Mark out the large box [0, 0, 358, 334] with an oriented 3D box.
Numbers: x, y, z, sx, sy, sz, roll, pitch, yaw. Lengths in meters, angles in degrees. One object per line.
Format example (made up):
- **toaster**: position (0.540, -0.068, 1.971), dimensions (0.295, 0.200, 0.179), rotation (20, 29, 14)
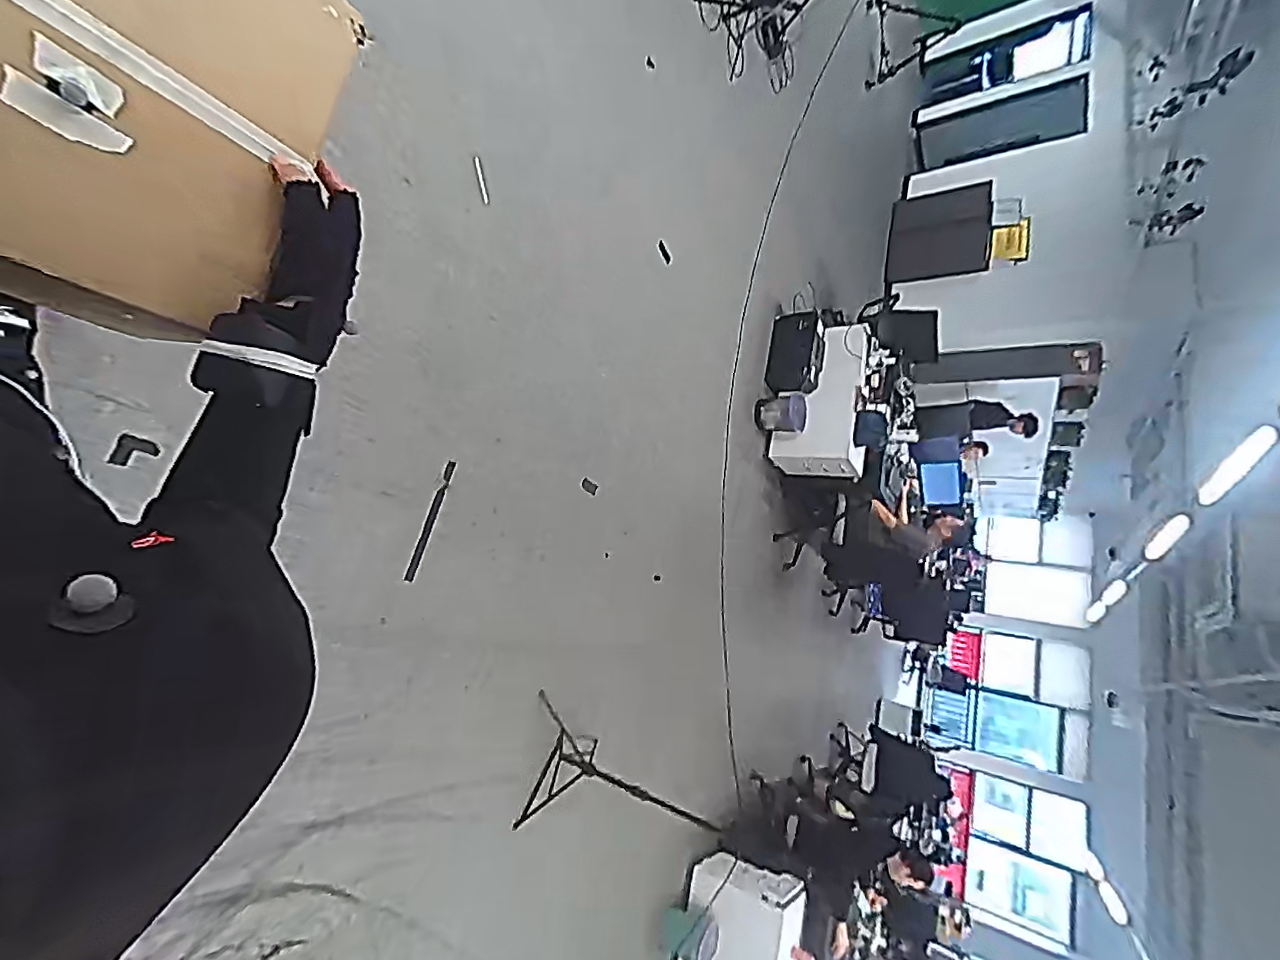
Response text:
- **large box**: position (-0.517, -0.335, 0.395), dimensions (0.408, 0.320, 0.320), rotation (23, 82, -56)
